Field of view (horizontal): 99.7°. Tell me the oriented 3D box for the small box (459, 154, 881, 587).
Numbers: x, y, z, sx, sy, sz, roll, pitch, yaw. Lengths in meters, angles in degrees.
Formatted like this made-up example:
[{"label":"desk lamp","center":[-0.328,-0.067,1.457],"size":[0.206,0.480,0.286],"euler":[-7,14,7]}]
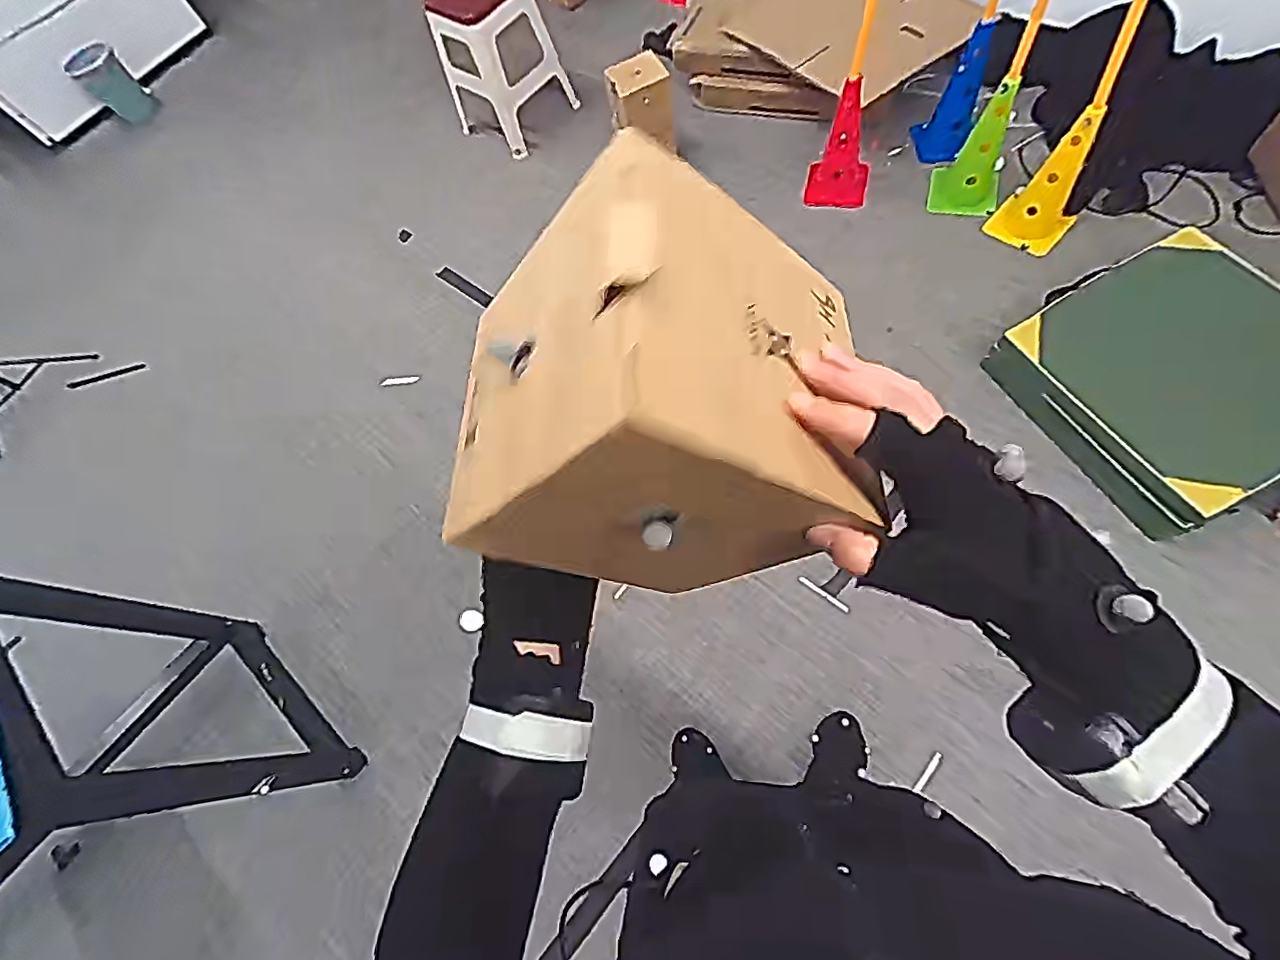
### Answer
[{"label":"small box","center":[0.003,-0.035,0.323],"size":[0.179,0.176,0.168],"euler":[11,63,-33]}]
